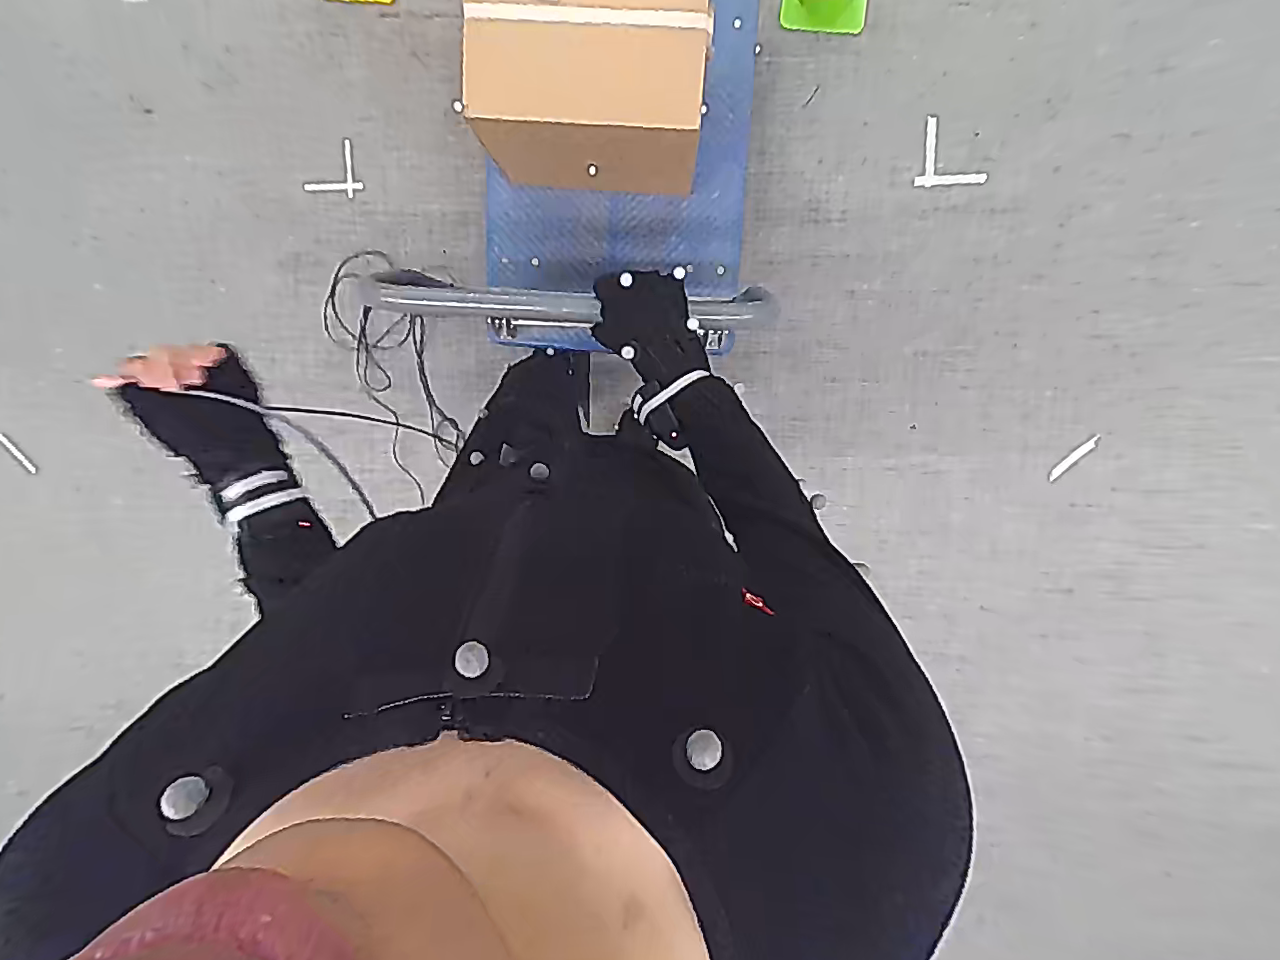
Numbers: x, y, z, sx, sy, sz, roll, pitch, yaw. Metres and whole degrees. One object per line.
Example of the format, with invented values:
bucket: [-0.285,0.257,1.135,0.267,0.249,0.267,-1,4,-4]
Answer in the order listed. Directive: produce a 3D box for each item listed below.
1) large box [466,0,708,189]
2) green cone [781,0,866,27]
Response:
large box: [-0.082,-0.777,1.035,0.408,0.320,0.320,4,99,2]
green cone: [0.437,-1.158,1.104,0.202,0.368,0.200,5,99,0]
